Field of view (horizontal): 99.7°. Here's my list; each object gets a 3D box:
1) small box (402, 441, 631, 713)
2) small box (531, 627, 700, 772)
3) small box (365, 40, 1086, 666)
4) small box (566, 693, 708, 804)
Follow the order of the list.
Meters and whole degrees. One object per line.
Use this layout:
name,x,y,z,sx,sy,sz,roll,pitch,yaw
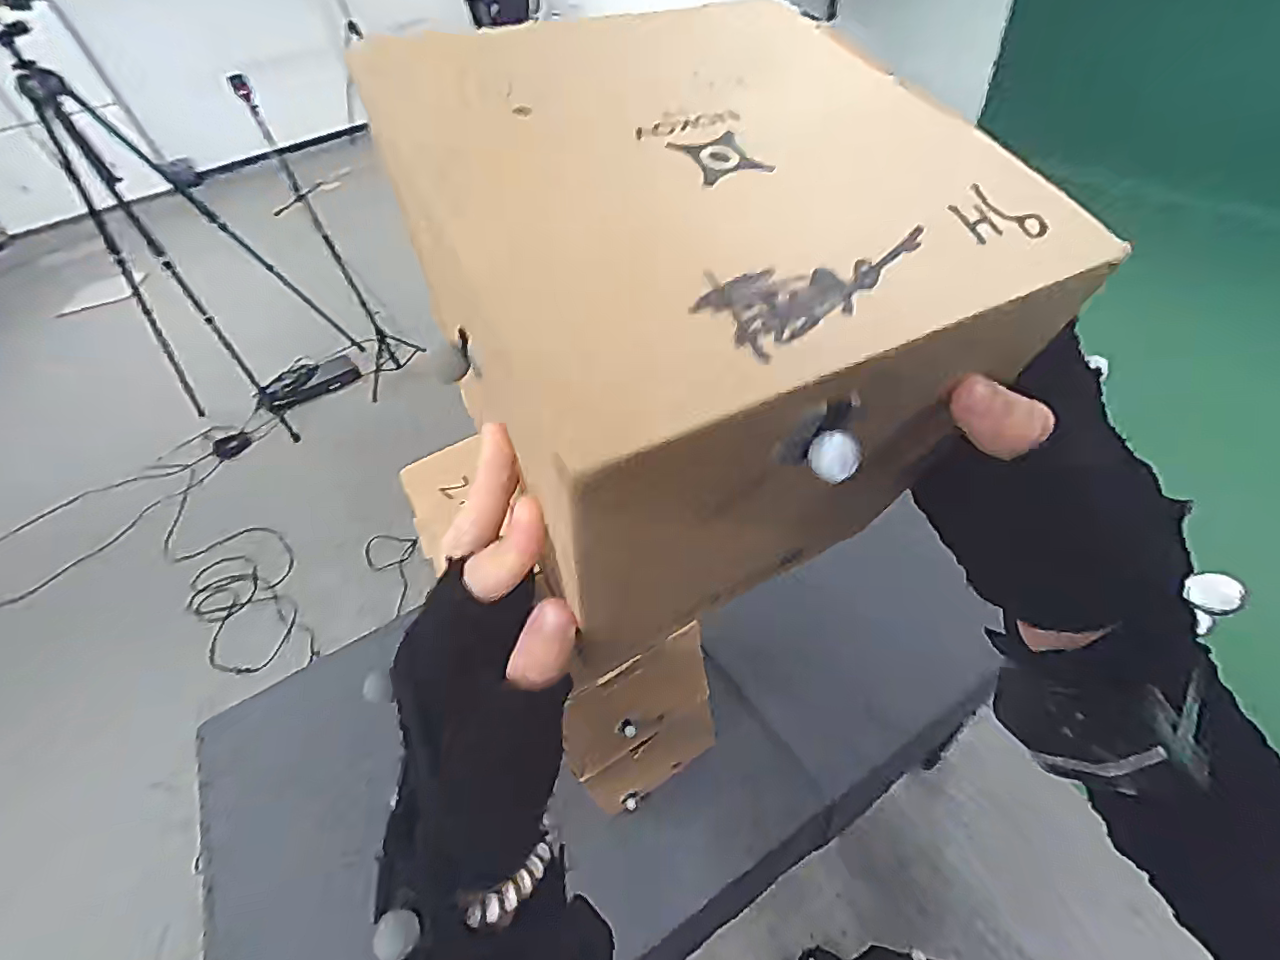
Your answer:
small box,-0.074,0.064,0.473,0.179,0.176,0.168,-27,47,-14
small box,-0.051,0.177,0.591,0.168,0.176,0.179,-29,47,-15
small box,0.011,-0.048,0.235,0.168,0.176,0.179,-23,62,-15
small box,-0.026,0.289,0.706,0.168,0.176,0.179,-29,46,-15
